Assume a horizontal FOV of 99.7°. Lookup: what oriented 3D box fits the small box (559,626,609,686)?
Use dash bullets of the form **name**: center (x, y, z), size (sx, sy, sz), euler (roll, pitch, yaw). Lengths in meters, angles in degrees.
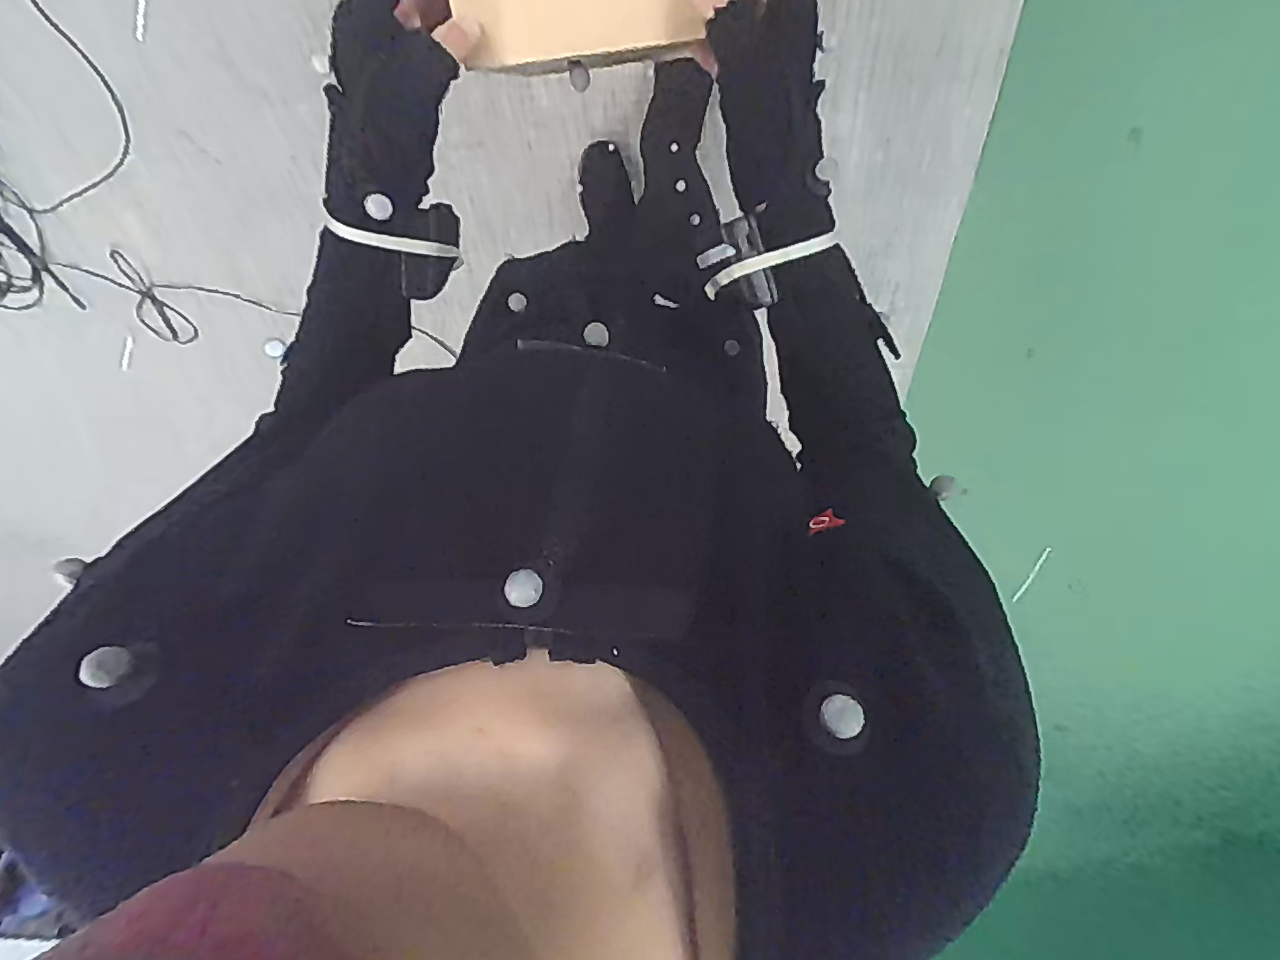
- **small box**: center (-0.218, 0.693, 2.142), size (0.168, 0.176, 0.179), euler (-2, 130, 5)
